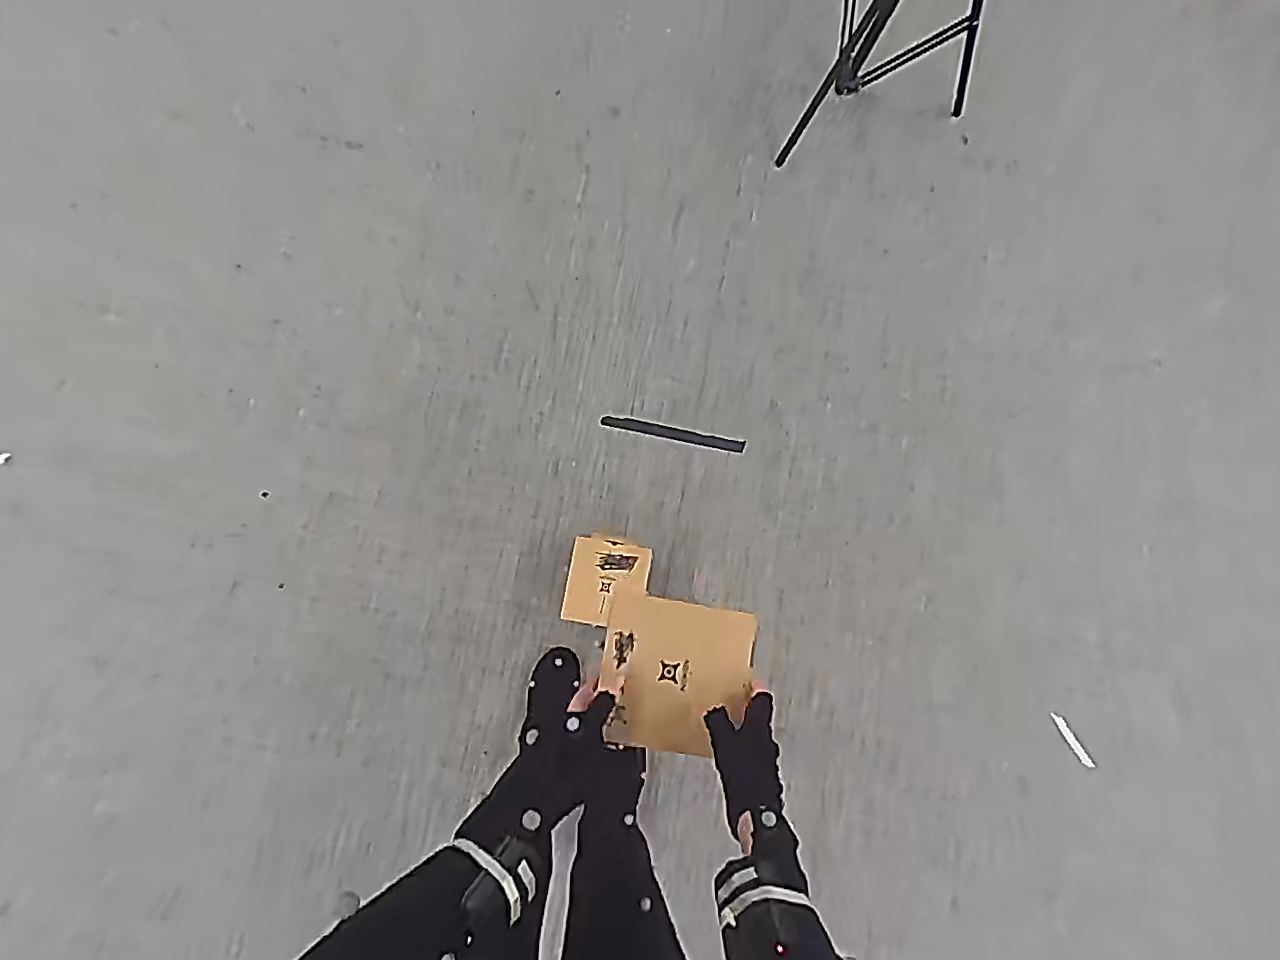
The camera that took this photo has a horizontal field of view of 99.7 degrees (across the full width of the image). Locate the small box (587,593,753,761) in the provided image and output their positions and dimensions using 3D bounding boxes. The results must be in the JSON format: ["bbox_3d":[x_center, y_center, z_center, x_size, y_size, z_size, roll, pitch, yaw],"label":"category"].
[{"bbox_3d":[0.033,0.245,0.698,0.179,0.176,0.168,9,73,-1],"label":"small box"}]

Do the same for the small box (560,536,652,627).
[{"bbox_3d":[-0.079,0.227,1.195,0.168,0.176,0.179,11,81,-4],"label":"small box"}]
